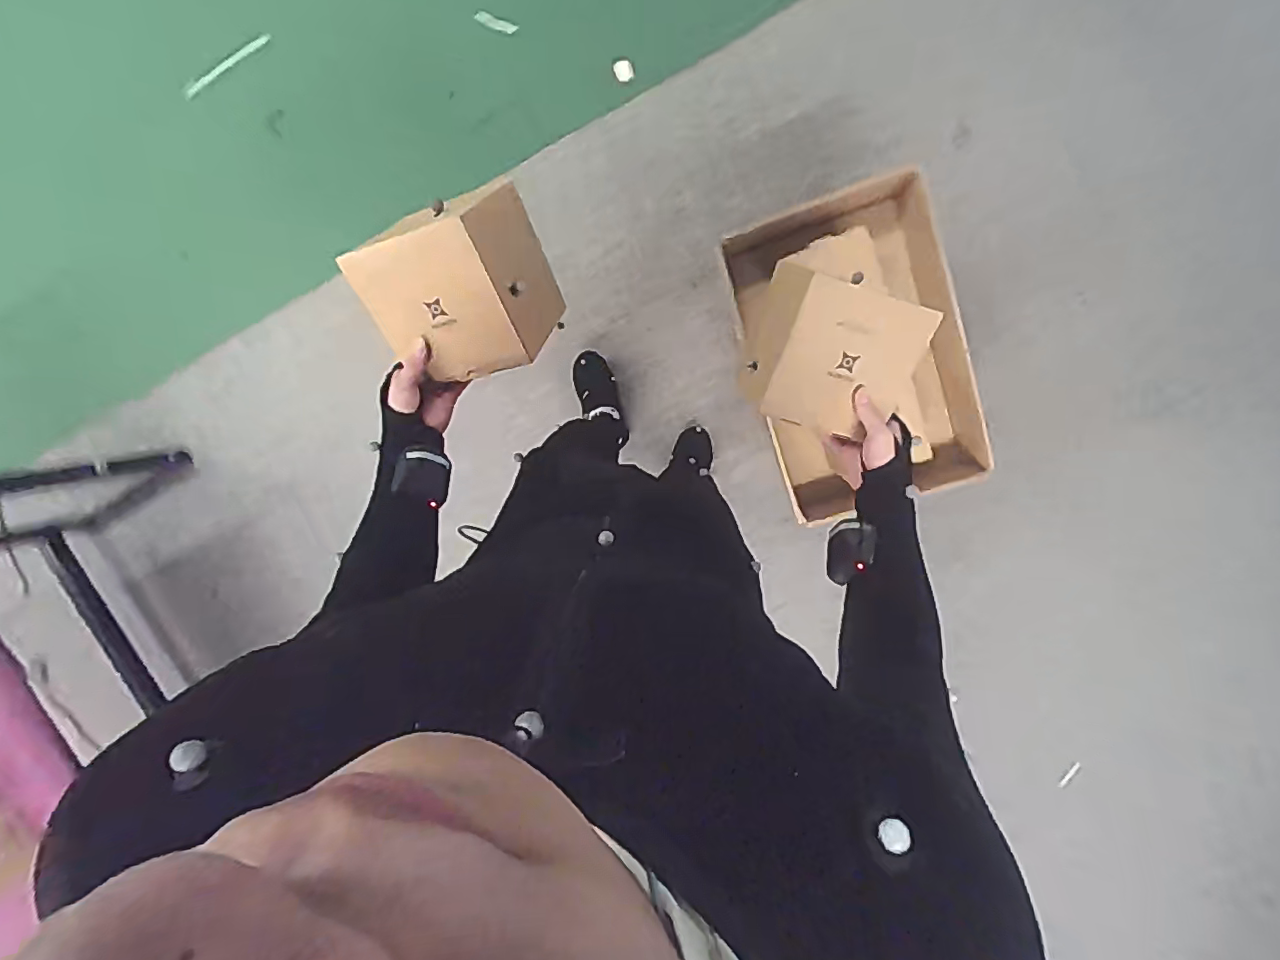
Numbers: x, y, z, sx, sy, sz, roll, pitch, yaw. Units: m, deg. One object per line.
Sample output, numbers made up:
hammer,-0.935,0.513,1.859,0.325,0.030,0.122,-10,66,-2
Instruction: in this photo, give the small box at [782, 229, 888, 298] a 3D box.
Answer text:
small box,0.377,-0.366,1.086,0.168,0.176,0.179,-19,97,10

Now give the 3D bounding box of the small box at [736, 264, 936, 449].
small box,0.236,-0.168,0.710,0.168,0.176,0.179,14,115,-8

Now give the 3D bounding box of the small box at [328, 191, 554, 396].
small box,-0.227,-0.235,0.668,0.168,0.176,0.179,-10,129,17
